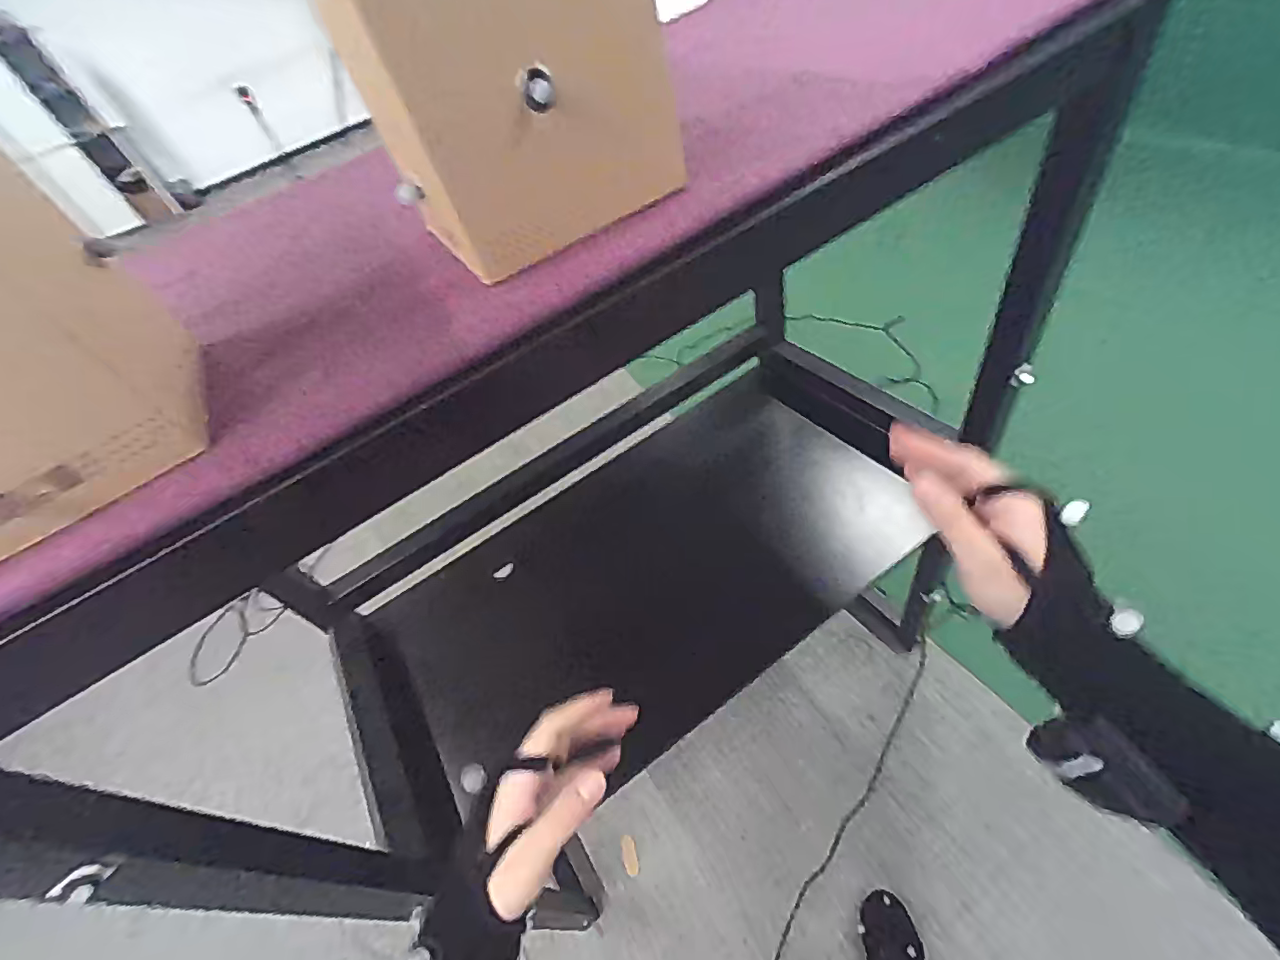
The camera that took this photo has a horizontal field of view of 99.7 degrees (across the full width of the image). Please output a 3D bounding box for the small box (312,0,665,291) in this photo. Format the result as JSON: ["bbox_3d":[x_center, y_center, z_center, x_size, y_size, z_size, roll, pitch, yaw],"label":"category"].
[{"bbox_3d":[-0.097,-0.271,0.396,0.179,0.176,0.168,-33,47,-11],"label":"small box"}]
